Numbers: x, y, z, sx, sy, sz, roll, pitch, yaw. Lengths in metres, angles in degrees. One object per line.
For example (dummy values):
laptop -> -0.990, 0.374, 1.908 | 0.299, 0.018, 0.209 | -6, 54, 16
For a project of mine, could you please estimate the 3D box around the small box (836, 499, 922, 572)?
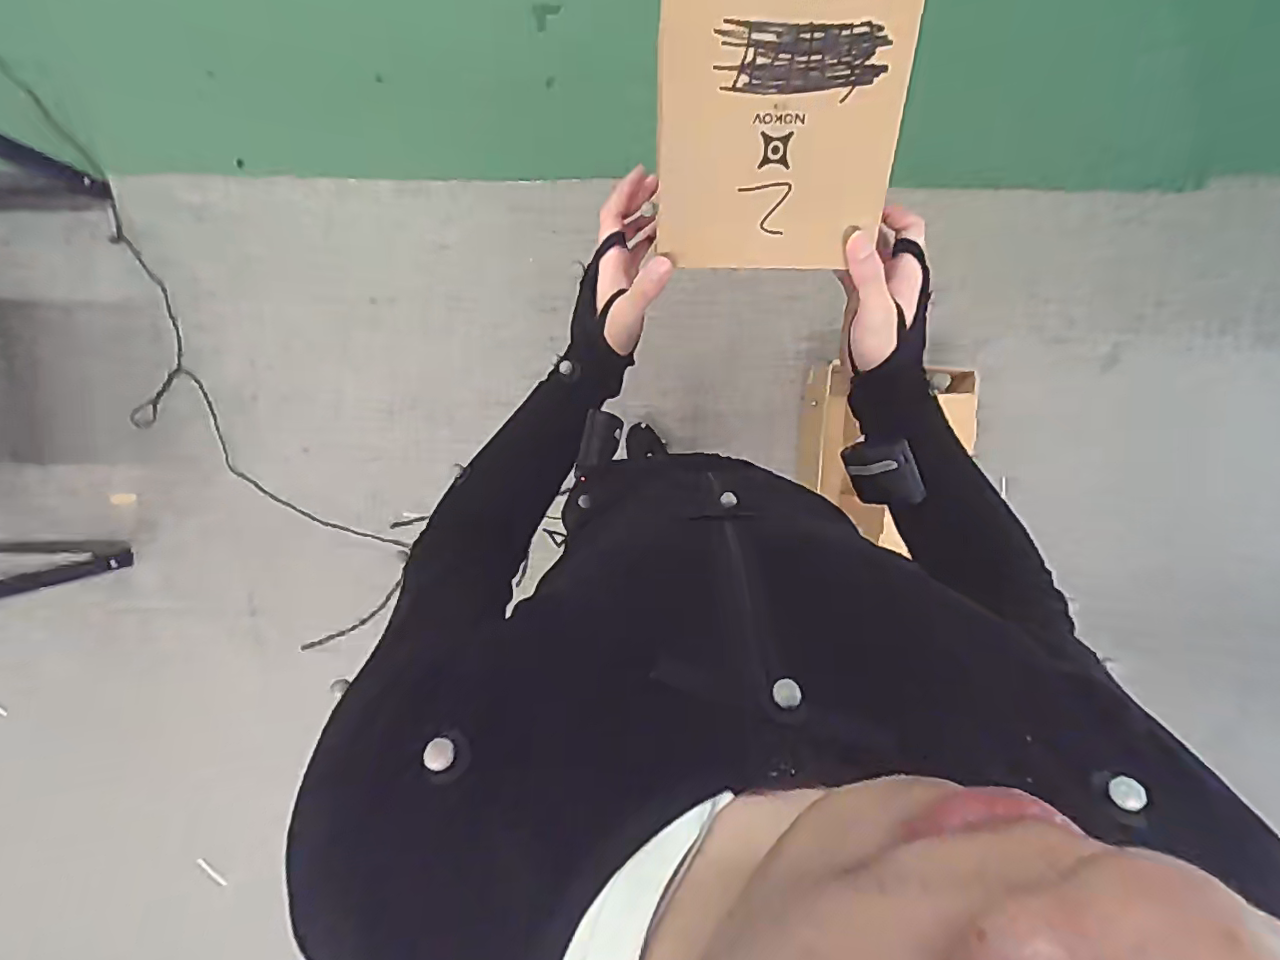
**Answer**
small box -> 0.651, 0.156, 1.482 | 0.168, 0.176, 0.179 | 7, 94, 2

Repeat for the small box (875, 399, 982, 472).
small box -> 0.684, -0.107, 1.300 | 0.179, 0.176, 0.168 | 0, 95, 2

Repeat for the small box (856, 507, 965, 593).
small box -> 0.649, 0.164, 1.320 | 0.179, 0.176, 0.168 | 7, 95, 2
